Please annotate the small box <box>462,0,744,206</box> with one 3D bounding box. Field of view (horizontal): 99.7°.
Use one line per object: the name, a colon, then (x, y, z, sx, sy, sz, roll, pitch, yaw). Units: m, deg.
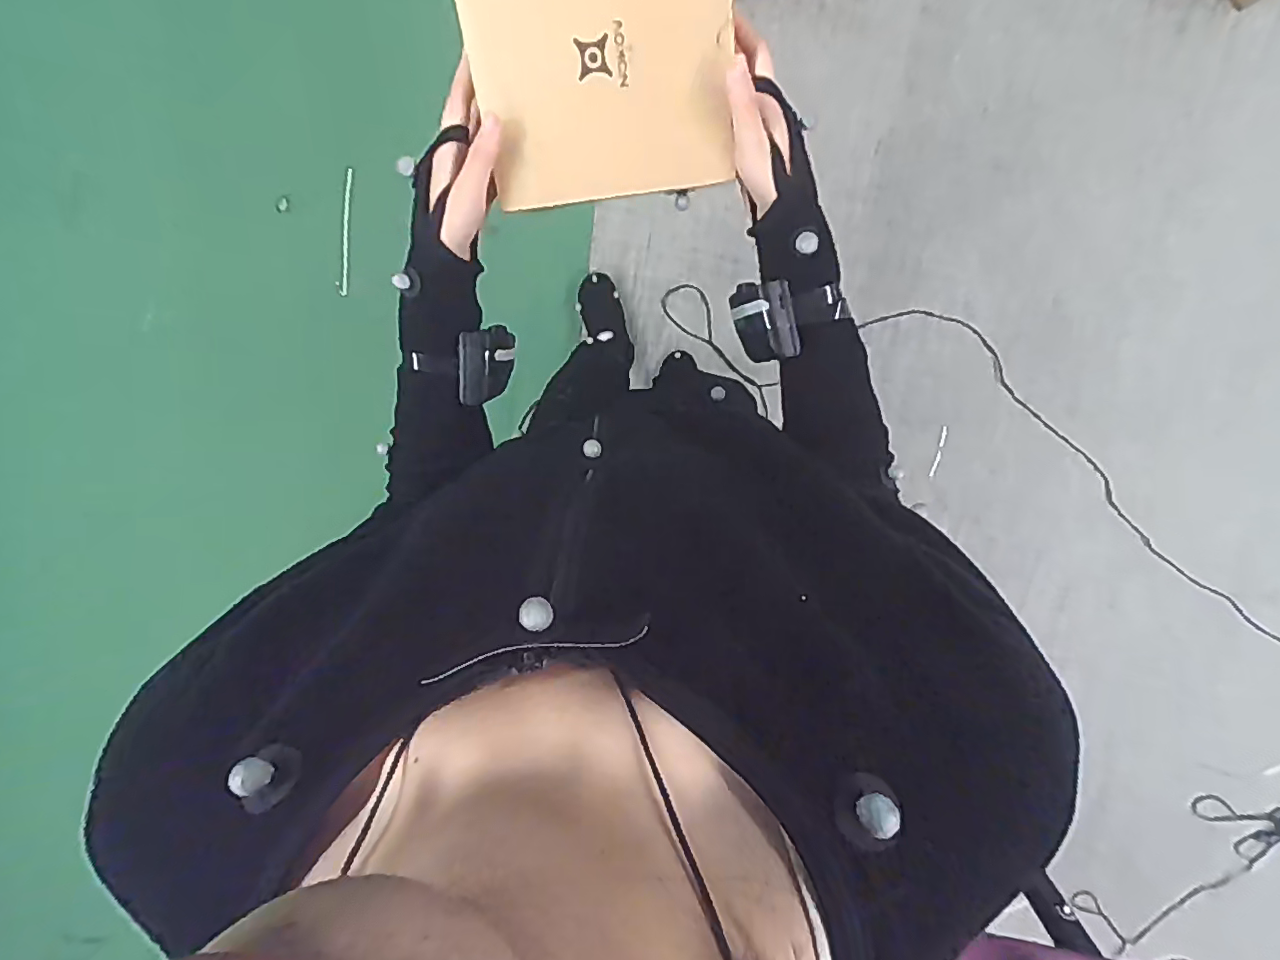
small box: (-0.021, -0.314, 0.420, 0.179, 0.176, 0.168, -6, 117, 2)
